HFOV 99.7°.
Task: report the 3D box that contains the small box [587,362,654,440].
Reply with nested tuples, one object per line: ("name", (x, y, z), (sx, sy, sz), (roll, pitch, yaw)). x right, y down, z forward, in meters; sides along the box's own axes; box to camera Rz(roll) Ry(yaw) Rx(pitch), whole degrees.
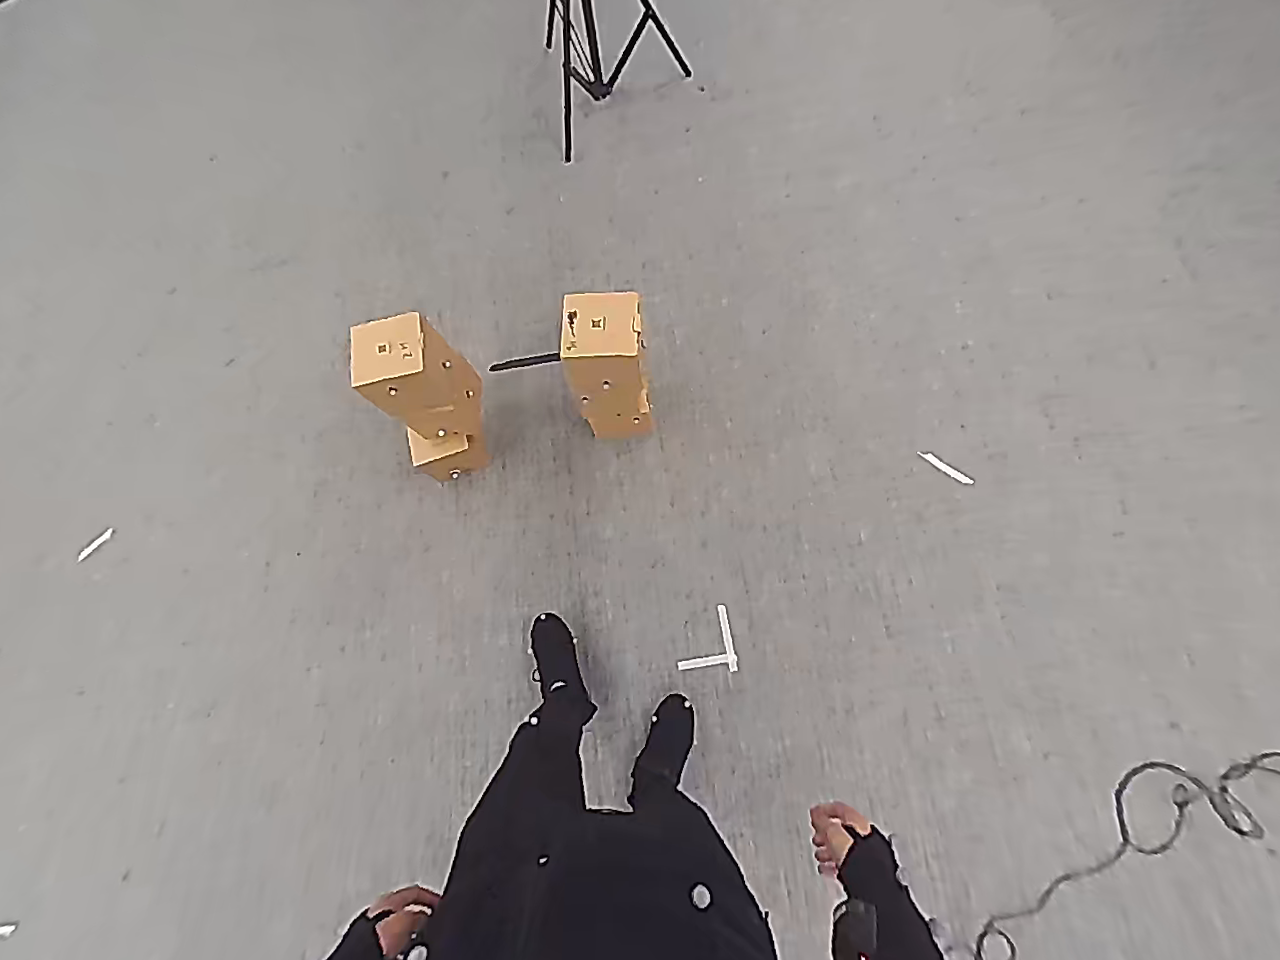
("small box", (-0.057, -0.228, 1.595), (0.179, 0.176, 0.168), (-7, 72, 2))

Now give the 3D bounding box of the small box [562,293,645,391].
("small box", (-0.079, -0.322, 1.281), (0.179, 0.176, 0.168), (0, 72, 4))

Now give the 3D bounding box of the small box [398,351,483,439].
("small box", (-0.536, -0.227, 1.469), (0.168, 0.176, 0.179), (-5, 72, 5))

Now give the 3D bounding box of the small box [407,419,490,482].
("small box", (-0.566, -0.116, 1.609), (0.168, 0.176, 0.179), (-19, 72, 0))

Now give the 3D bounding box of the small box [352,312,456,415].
("small box", (-0.569, -0.275, 1.315), (0.179, 0.176, 0.168), (-12, 71, 3))
